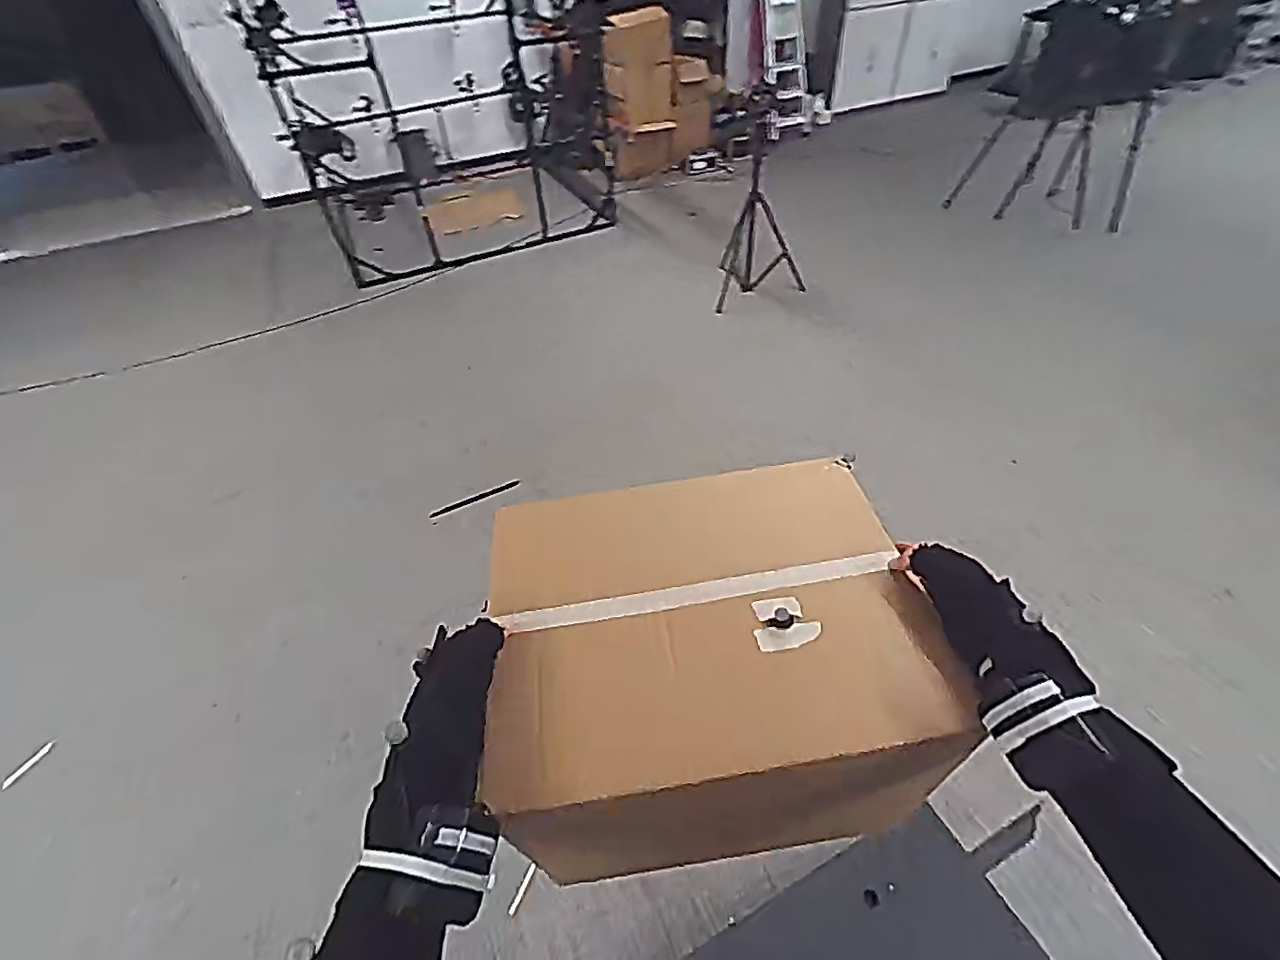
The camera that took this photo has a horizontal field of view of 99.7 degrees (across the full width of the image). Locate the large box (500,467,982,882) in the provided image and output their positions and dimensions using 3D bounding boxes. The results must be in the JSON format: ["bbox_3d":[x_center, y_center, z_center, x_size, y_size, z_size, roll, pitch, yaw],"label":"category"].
[{"bbox_3d":[0.076,0.225,0.636,0.408,0.320,0.320,-9,45,-2],"label":"large box"}]

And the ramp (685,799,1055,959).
[{"bbox_3d":[0.416,1.103,1.080,0.991,0.206,0.509,-24,46,-17],"label":"ramp"}]
